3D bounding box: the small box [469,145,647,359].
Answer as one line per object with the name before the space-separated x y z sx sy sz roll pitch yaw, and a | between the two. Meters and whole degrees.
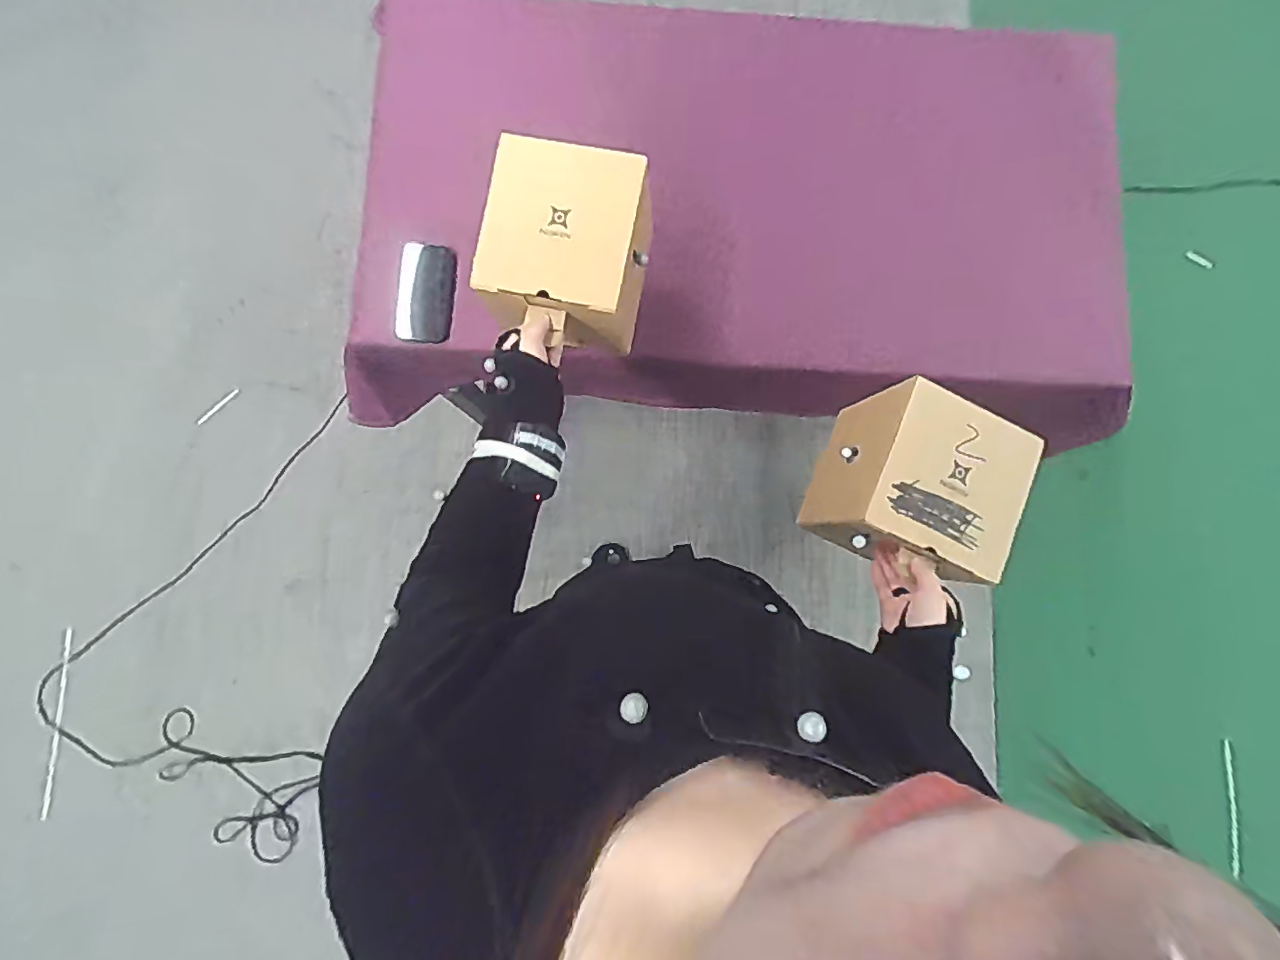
small box | -0.088 -0.267 0.670 0.168 0.176 0.179 11 89 4
